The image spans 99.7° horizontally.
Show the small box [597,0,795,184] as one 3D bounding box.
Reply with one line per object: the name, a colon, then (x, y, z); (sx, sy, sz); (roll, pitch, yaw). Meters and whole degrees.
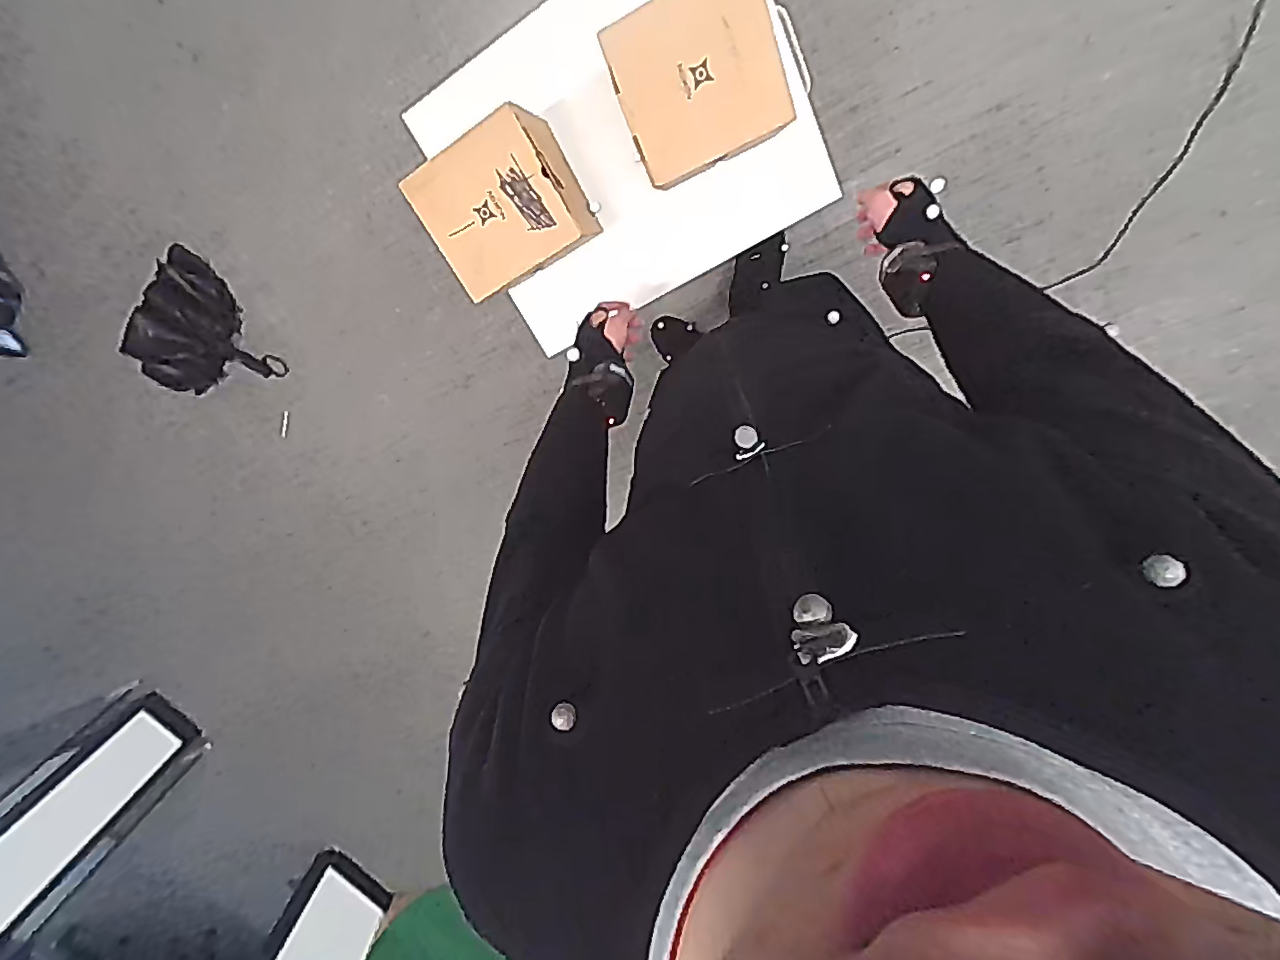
small box: (0.072, -0.480, 0.658); (0.179, 0.176, 0.168); (-19, 115, 16)
